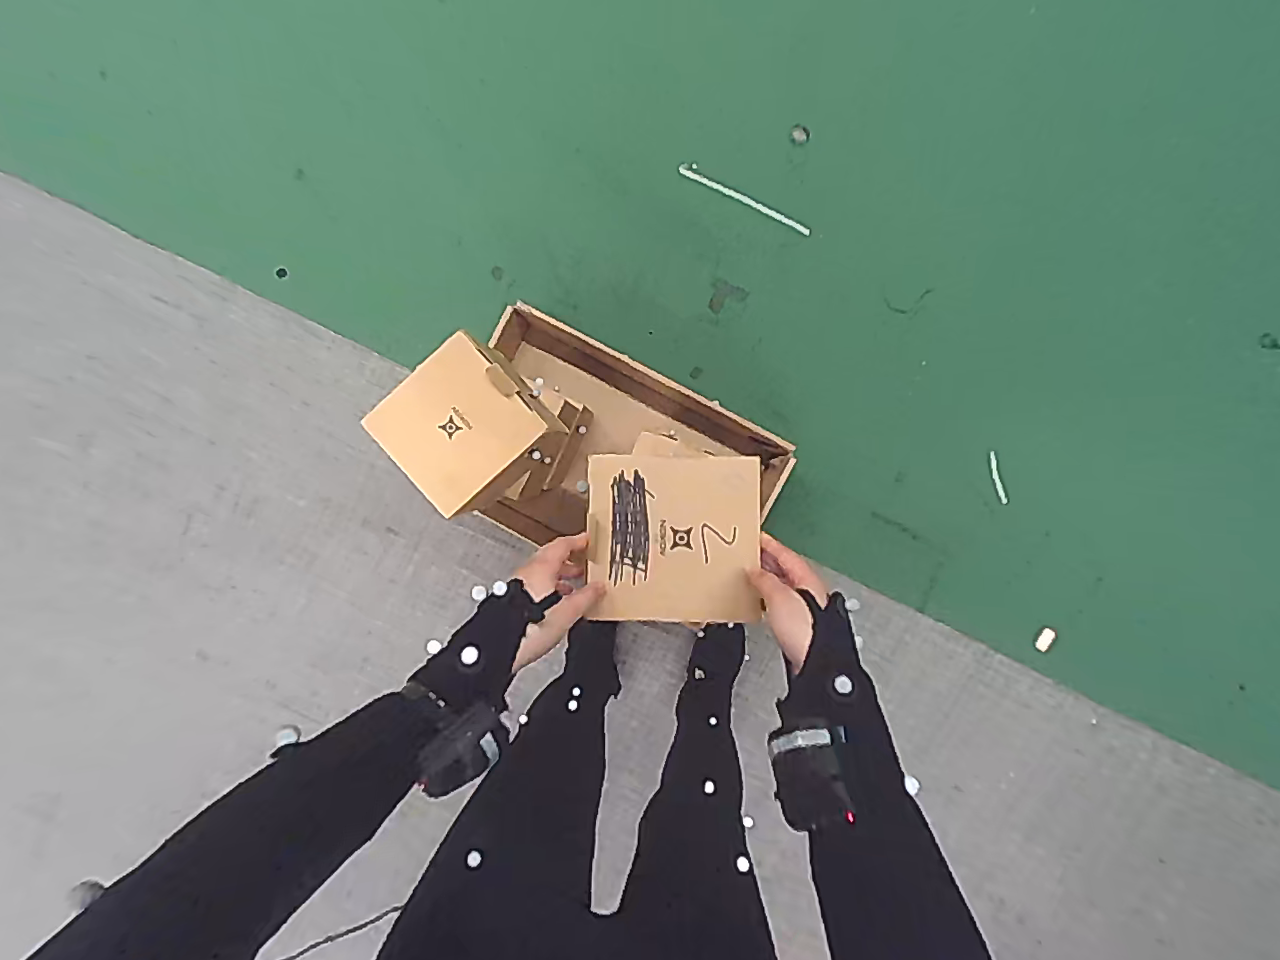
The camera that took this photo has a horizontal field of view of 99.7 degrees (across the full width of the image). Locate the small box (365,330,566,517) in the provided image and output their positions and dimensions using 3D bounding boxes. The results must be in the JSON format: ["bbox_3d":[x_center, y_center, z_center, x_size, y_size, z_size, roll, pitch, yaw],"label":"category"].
[{"bbox_3d":[-0.223,-0.071,0.745,0.179,0.176,0.168,-41,91,2],"label":"small box"}]

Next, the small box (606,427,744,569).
[{"bbox_3d":[0.057,0.023,0.906,0.168,0.176,0.179,22,95,3],"label":"small box"}]

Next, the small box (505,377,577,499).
[{"bbox_3d":[-0.218,-0.085,0.907,0.168,0.176,0.179,27,92,0],"label":"small box"}]
